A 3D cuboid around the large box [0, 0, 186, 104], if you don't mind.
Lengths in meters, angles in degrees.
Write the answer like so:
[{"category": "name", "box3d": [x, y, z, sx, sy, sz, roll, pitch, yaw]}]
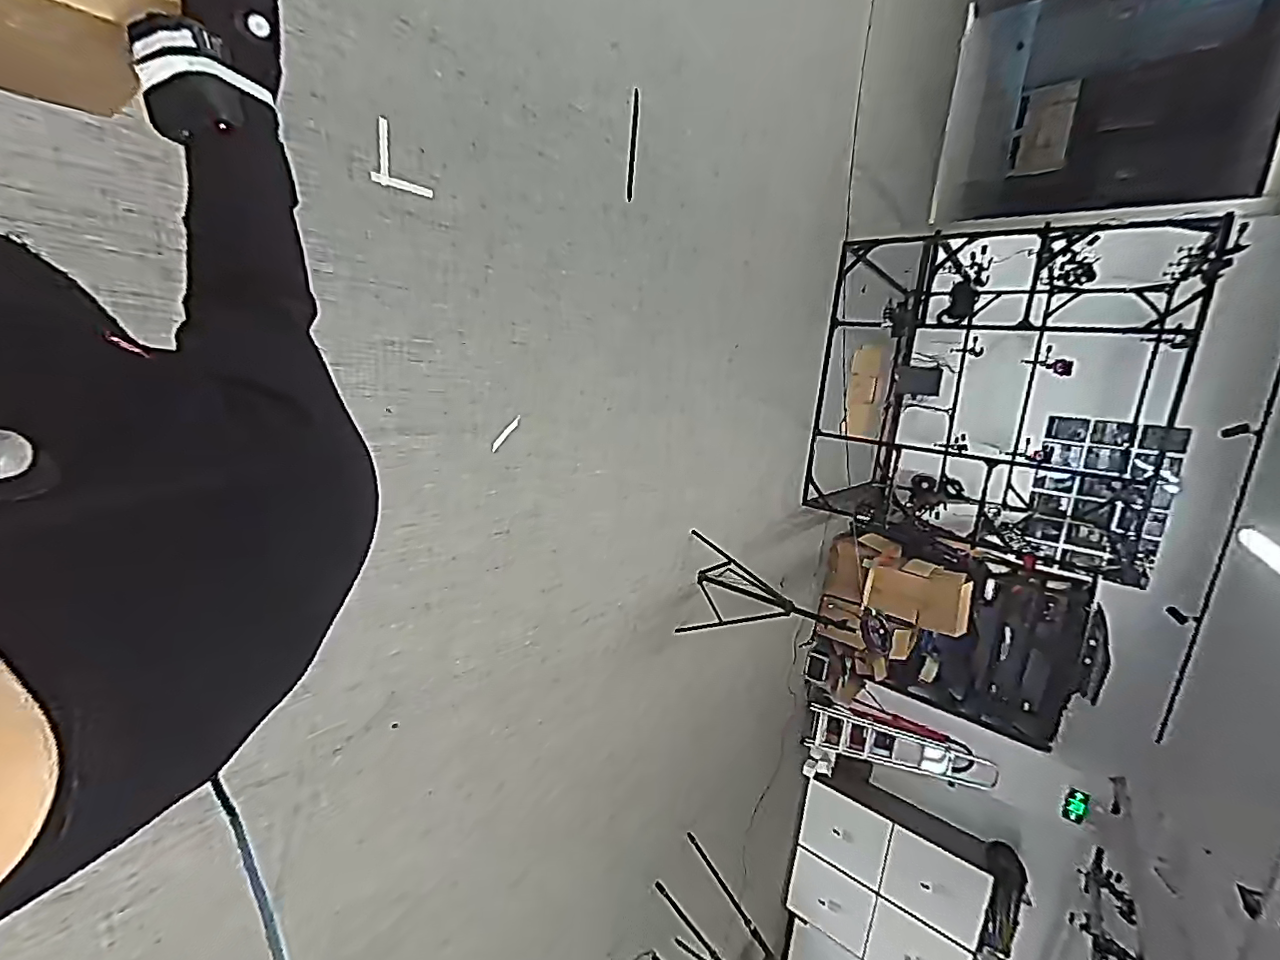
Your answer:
[{"category": "large box", "box3d": [-0.566, -0.475, 0.298, 0.408, 0.320, 0.320, -14, 116, -50]}]
